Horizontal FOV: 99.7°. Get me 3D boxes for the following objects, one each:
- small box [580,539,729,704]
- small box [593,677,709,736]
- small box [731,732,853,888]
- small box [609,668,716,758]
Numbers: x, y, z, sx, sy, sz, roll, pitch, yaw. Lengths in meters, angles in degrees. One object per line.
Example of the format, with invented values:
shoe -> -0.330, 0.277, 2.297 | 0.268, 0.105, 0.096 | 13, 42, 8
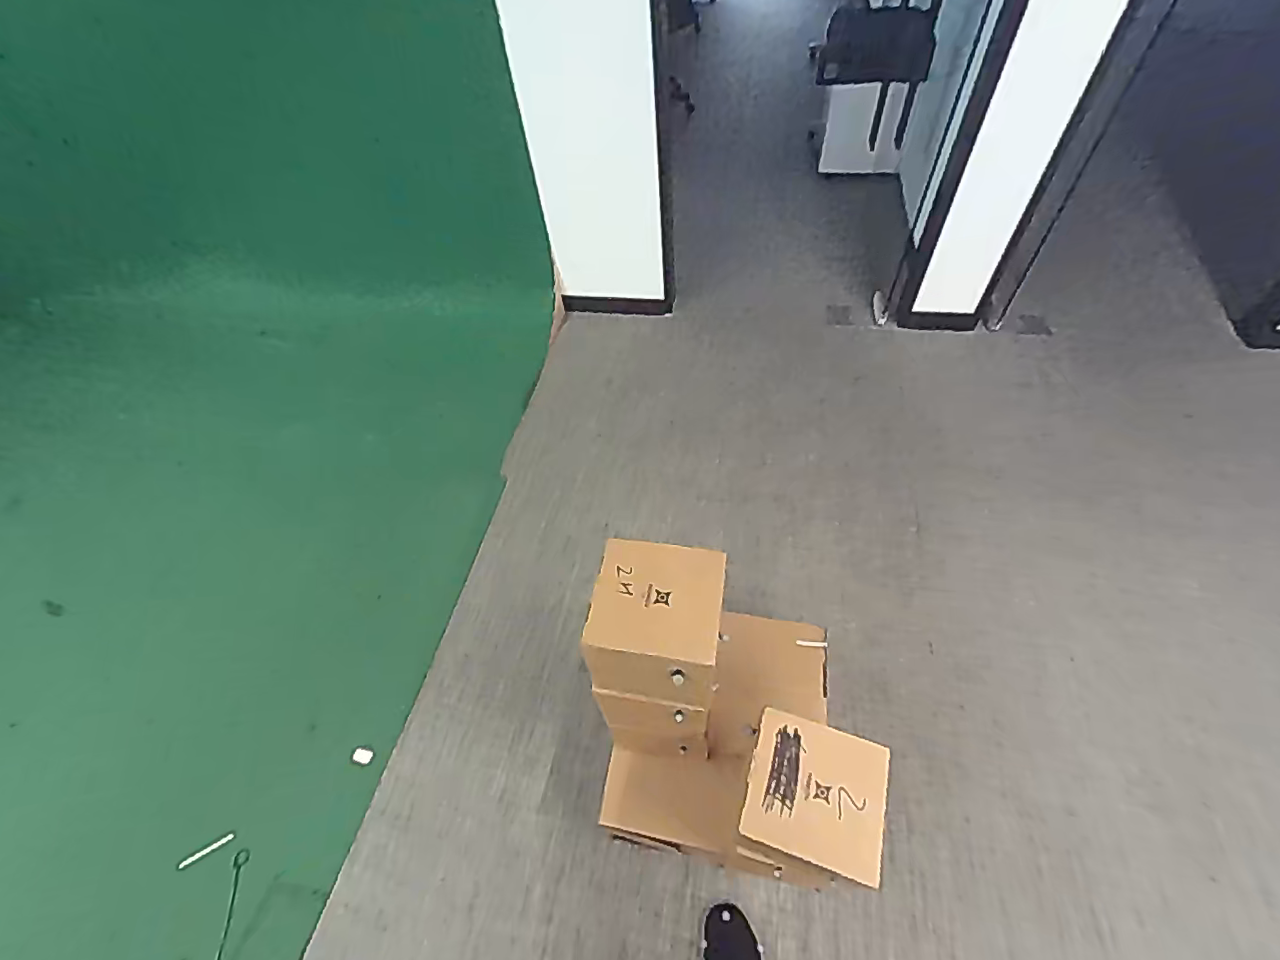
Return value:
small box -> 0.029, 0.210, 0.787 | 0.179, 0.176, 0.168 | 6, 51, 11
small box -> 0.032, 0.316, 0.914 | 0.179, 0.176, 0.168 | 6, 51, 9
small box -> 0.250, 0.555, 0.908 | 0.168, 0.176, 0.179 | 10, 53, 12
small box -> 0.051, 0.420, 1.037 | 0.179, 0.176, 0.168 | 4, 51, 10
